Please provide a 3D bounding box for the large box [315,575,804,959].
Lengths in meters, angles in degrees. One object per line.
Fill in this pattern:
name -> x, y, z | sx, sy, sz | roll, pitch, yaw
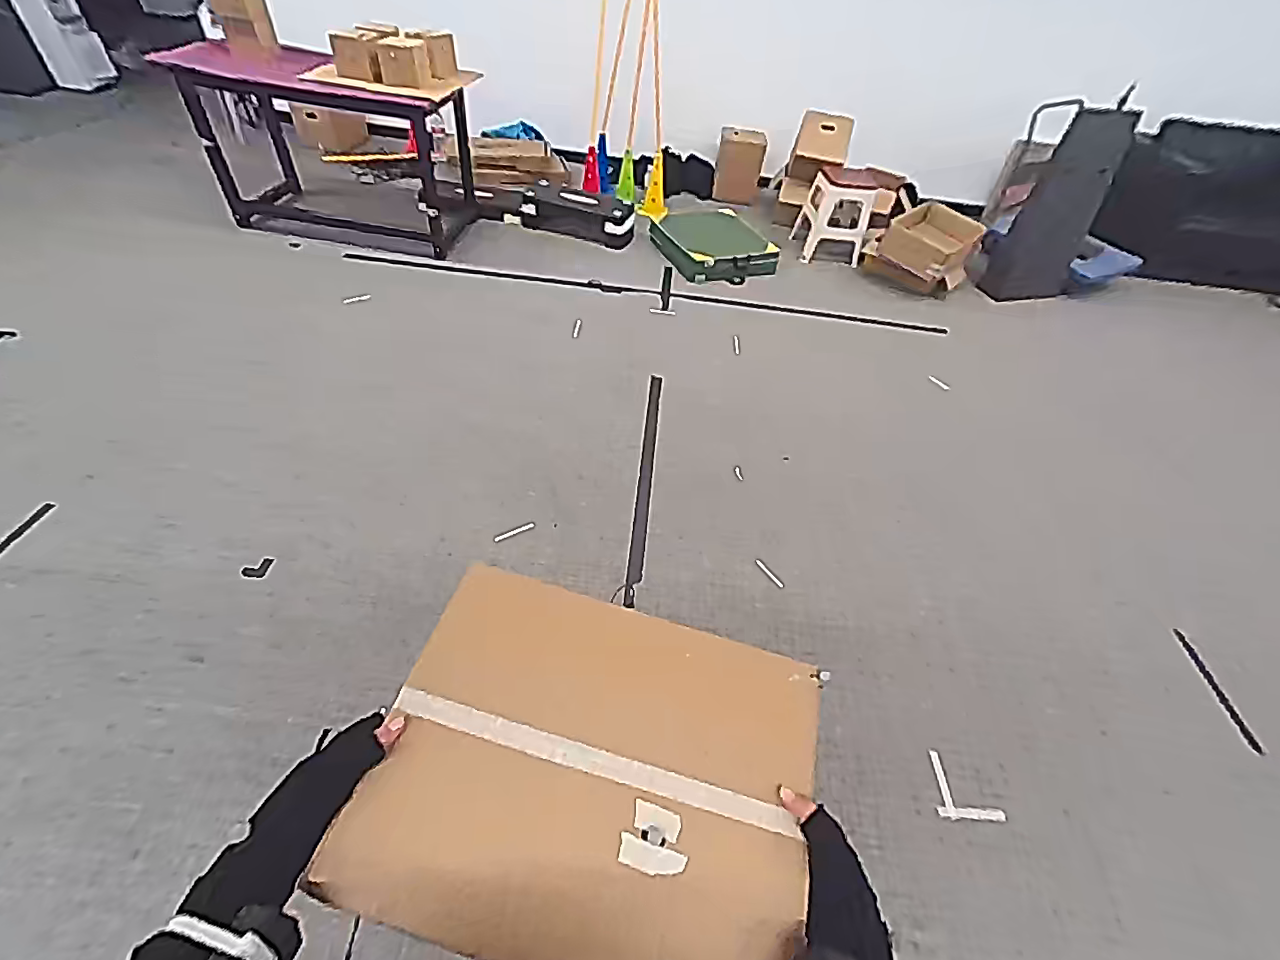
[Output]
large box -> -0.063, 0.364, 0.639 | 0.408, 0.320, 0.320 | 16, 52, 3
